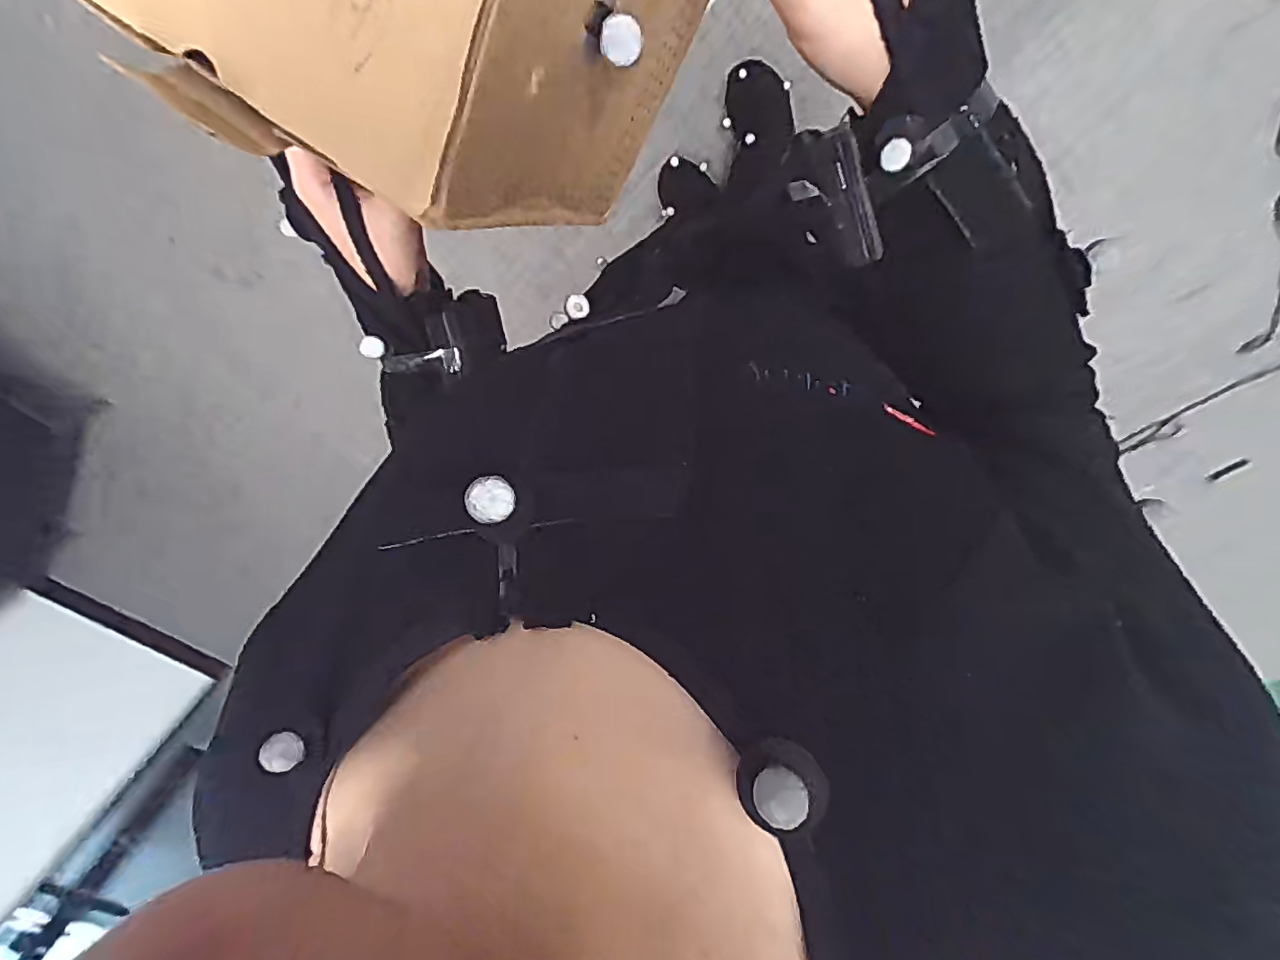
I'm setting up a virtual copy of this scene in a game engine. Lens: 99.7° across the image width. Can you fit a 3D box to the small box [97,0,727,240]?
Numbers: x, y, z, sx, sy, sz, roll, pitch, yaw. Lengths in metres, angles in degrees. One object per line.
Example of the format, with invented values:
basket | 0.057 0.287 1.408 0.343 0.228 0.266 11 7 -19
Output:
small box | -0.062 -0.219 0.206 0.168 0.176 0.179 33 120 0
